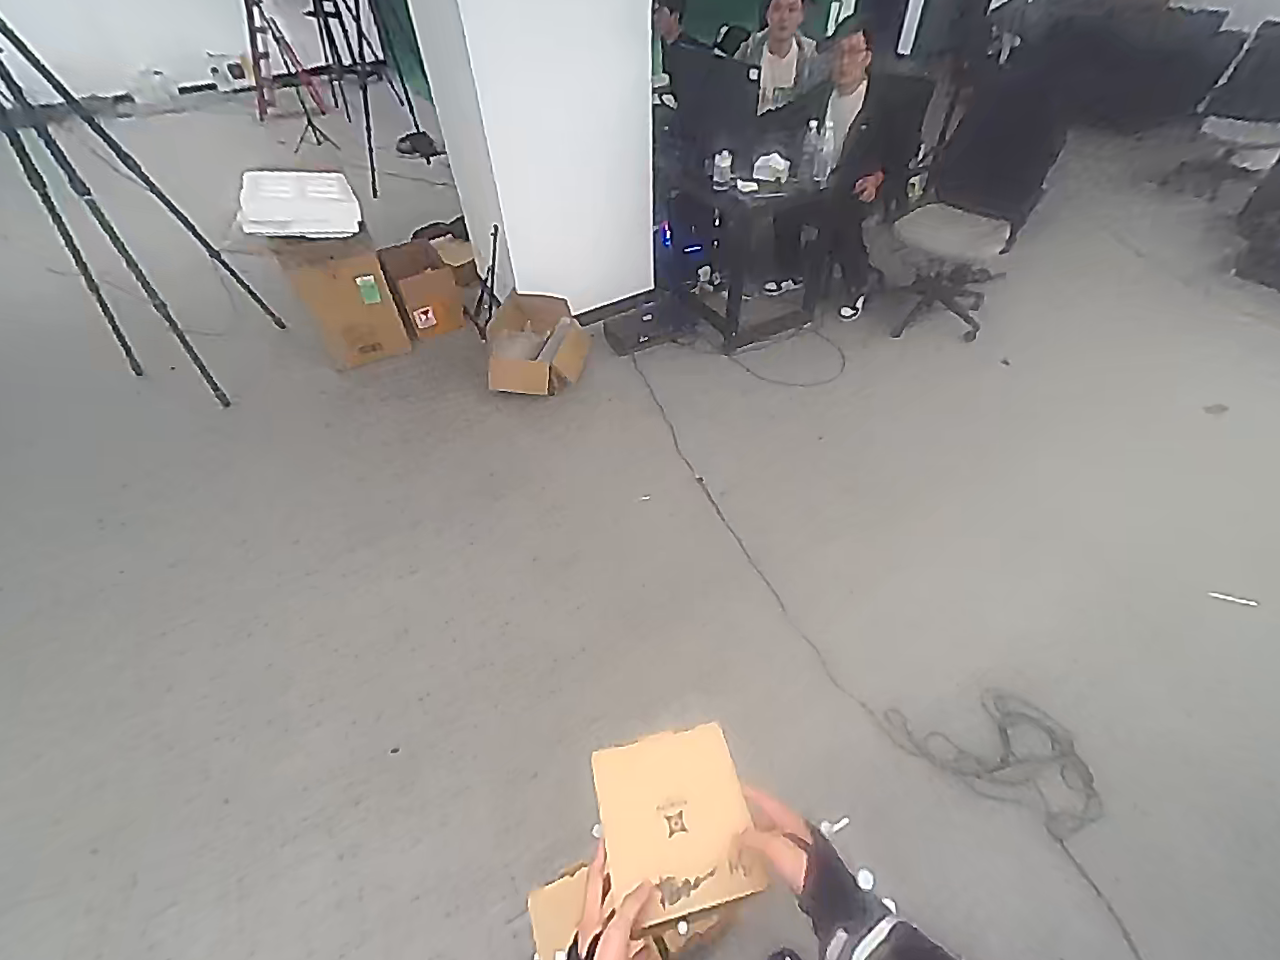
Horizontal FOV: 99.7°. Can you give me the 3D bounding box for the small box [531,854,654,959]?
[{"bbox_3d":[-0.076,0.790,0.931,0.168,0.176,0.179,-19,48,-12],"label":"small box"}]
